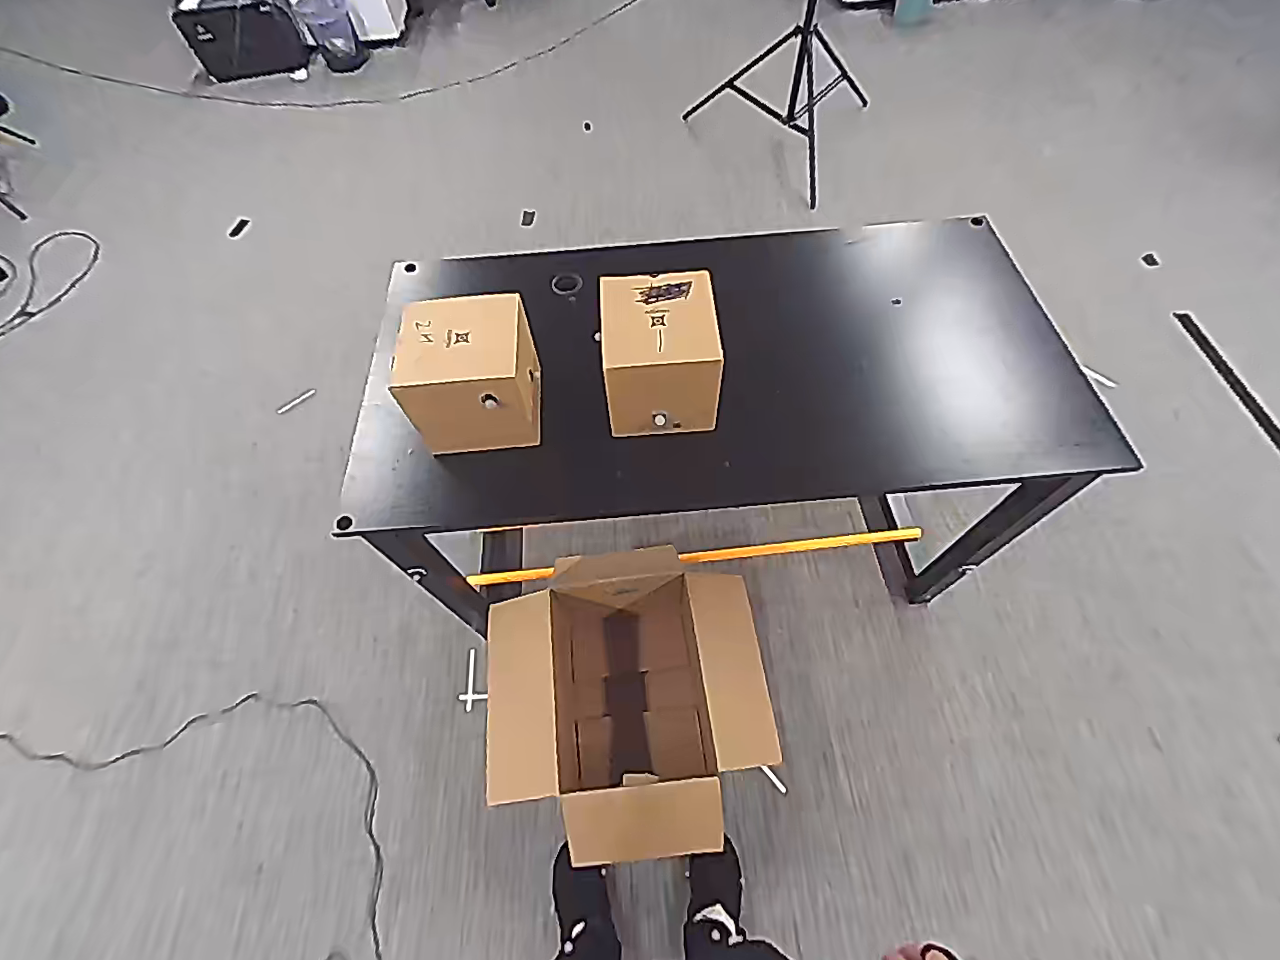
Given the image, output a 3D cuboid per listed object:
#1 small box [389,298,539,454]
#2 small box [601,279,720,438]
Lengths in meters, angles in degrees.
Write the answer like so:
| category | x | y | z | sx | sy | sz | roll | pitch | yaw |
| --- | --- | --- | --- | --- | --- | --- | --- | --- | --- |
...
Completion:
| category | x | y | z | sx | sy | sz | roll | pitch | yaw |
| --- | --- | --- | --- | --- | --- | --- | --- | --- | --- |
| small box | -0.257 | -0.155 | 0.839 | 0.179 | 0.176 | 0.168 | -5 | 59 | -1 |
| small box | 0.027 | -0.185 | 0.844 | 0.168 | 0.176 | 0.179 | -4 | 60 | 1 |
